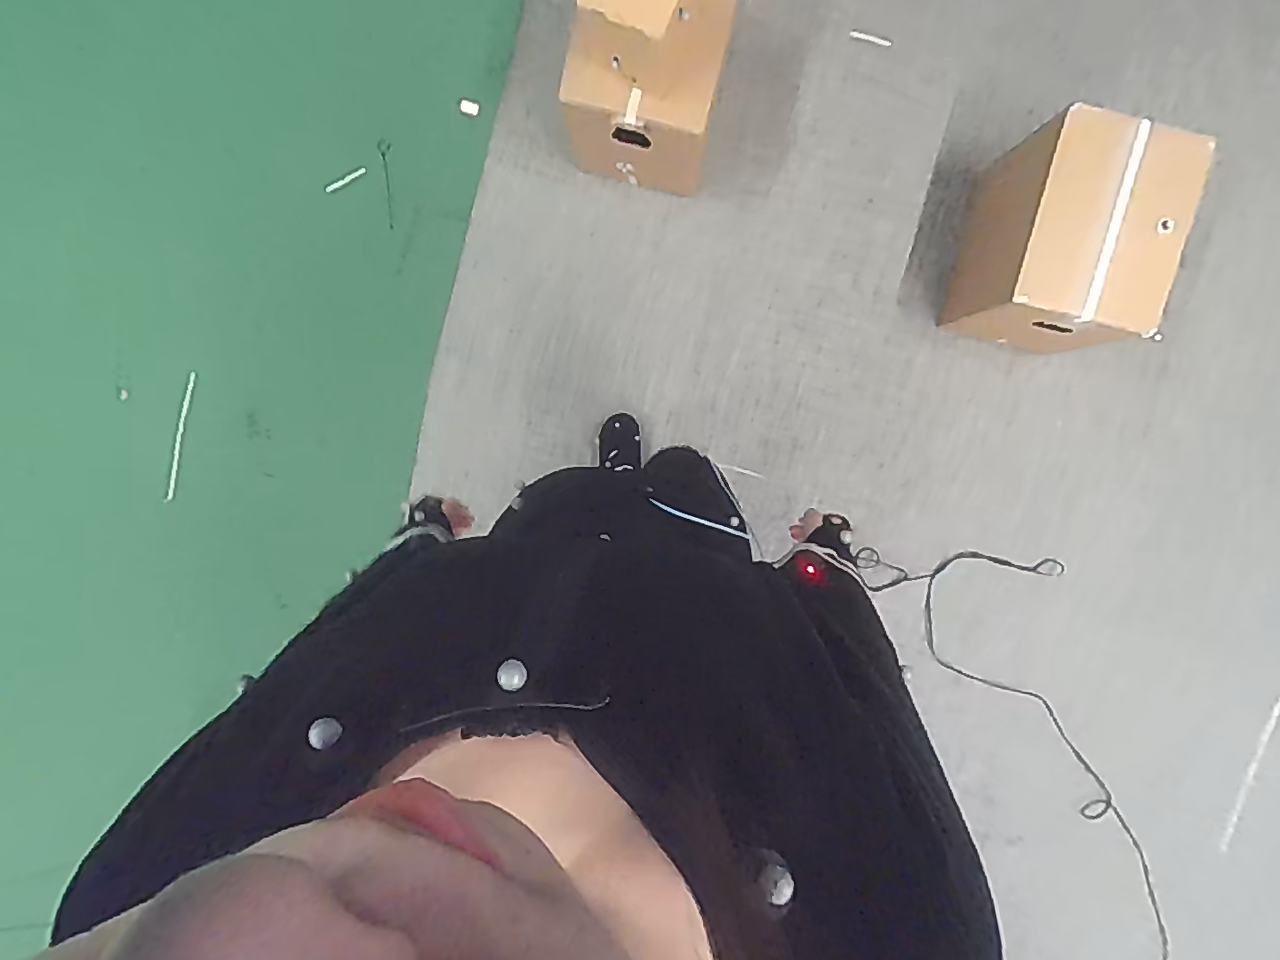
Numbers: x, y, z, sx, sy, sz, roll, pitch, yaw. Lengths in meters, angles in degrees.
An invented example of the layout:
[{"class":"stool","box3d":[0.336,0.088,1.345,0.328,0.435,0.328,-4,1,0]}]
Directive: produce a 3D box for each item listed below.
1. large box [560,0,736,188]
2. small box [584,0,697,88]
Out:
[{"class":"large box","box3d":[0.030,-0.961,1.235,0.320,0.320,0.408,14,96,0]},{"class":"small box","box3d":[0.005,-0.886,0.997,0.168,0.176,0.179,25,97,0]}]
